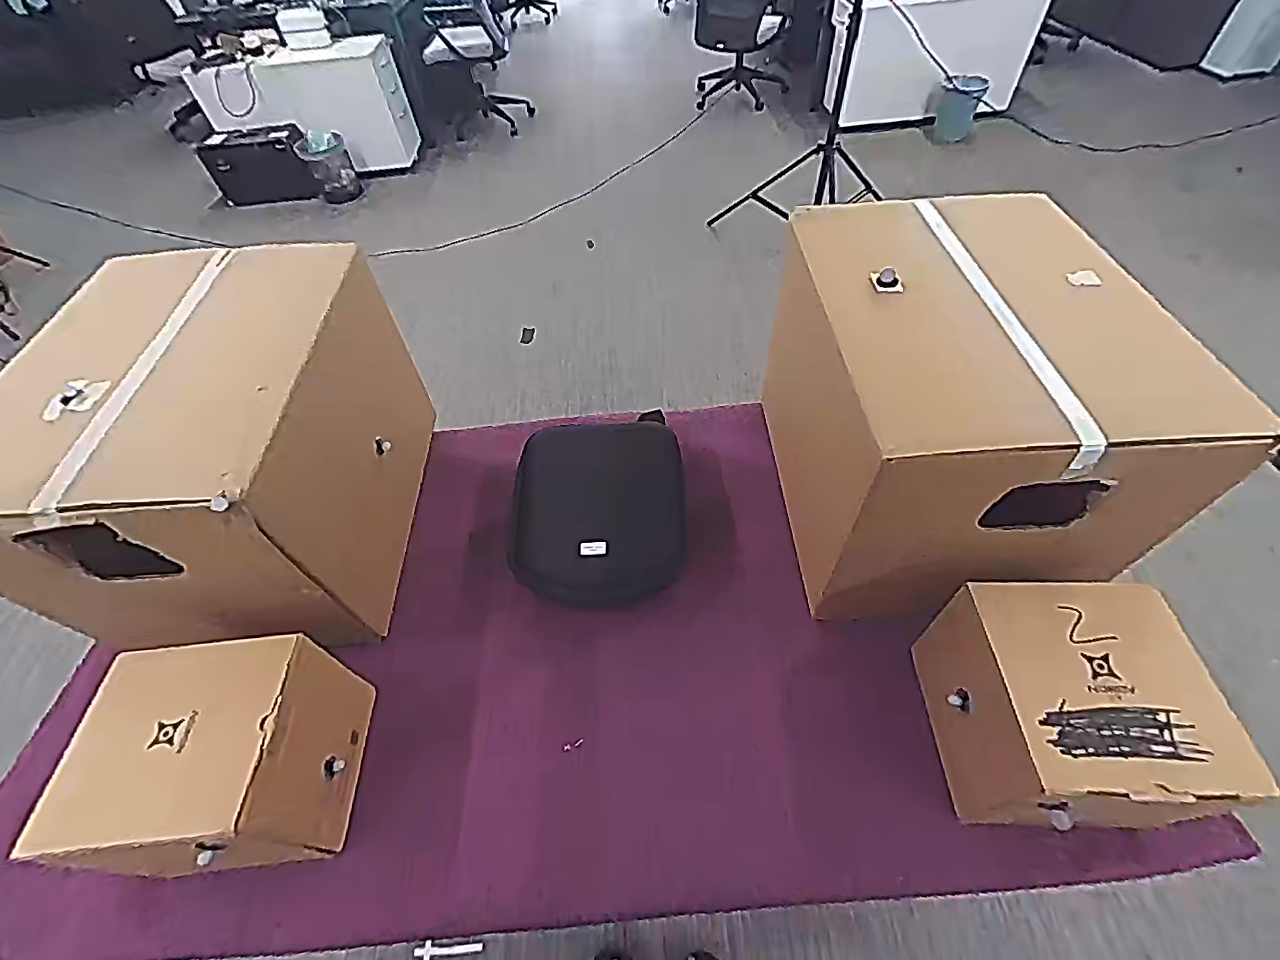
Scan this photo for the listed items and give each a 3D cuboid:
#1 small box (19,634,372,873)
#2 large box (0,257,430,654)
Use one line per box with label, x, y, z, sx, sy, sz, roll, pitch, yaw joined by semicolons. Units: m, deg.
small box;-0.400;0.272;0.532;0.179;0.176;0.168;-7;50;-2
large box;-0.488;-0.028;0.686;0.320;0.320;0.408;-5;54;-1
